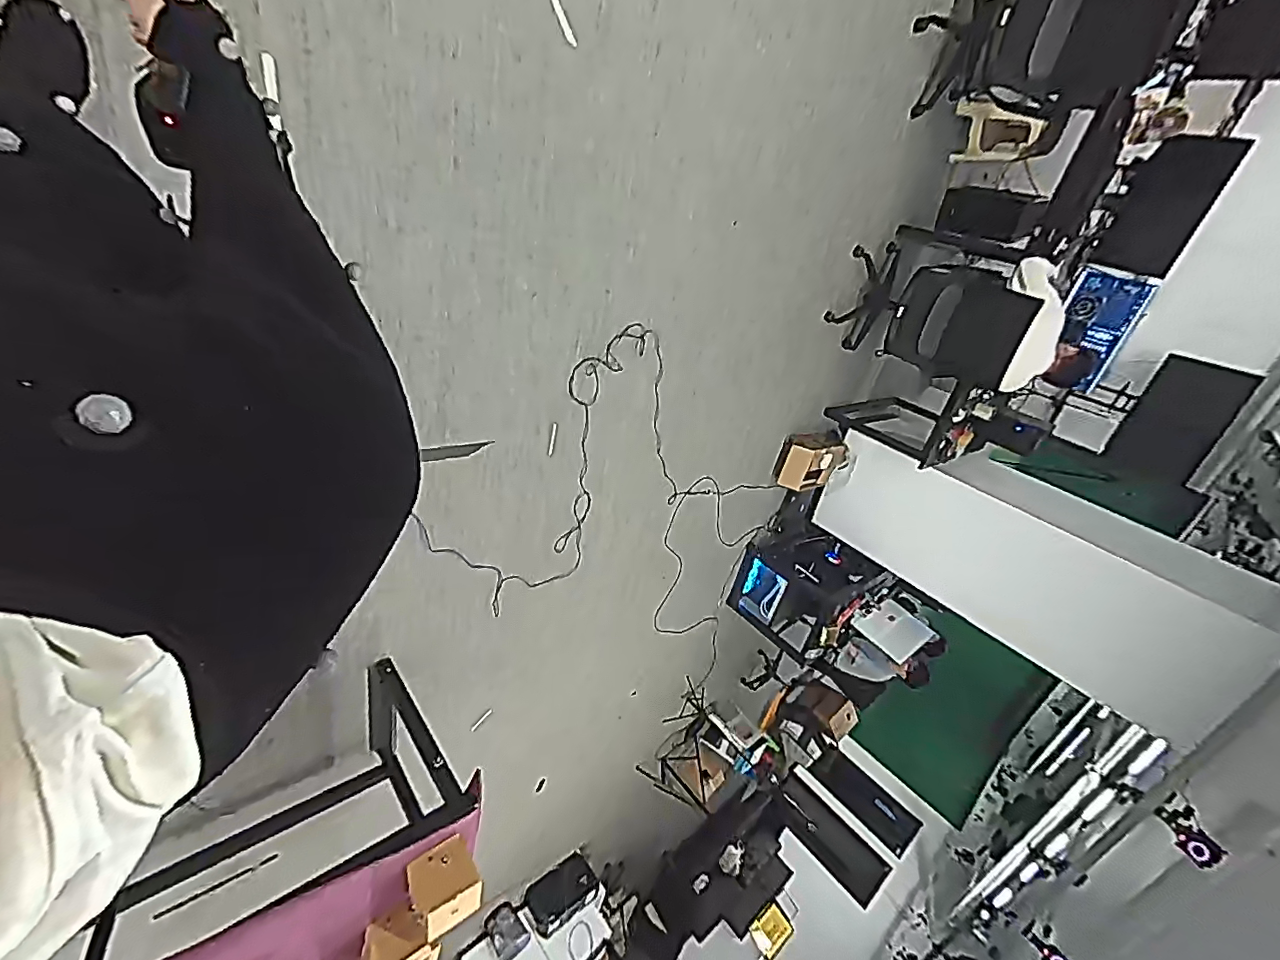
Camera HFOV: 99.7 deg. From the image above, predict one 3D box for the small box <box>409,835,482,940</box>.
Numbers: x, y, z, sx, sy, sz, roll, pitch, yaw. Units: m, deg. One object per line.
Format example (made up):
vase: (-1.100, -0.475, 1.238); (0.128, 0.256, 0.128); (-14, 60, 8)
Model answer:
small box: (-0.607, 1.259, 1.682); (0.168, 0.176, 0.179); (-15, 128, -38)

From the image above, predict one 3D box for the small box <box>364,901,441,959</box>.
small box: (-0.753, 1.477, 1.701); (0.168, 0.176, 0.179); (-5, 122, -45)
